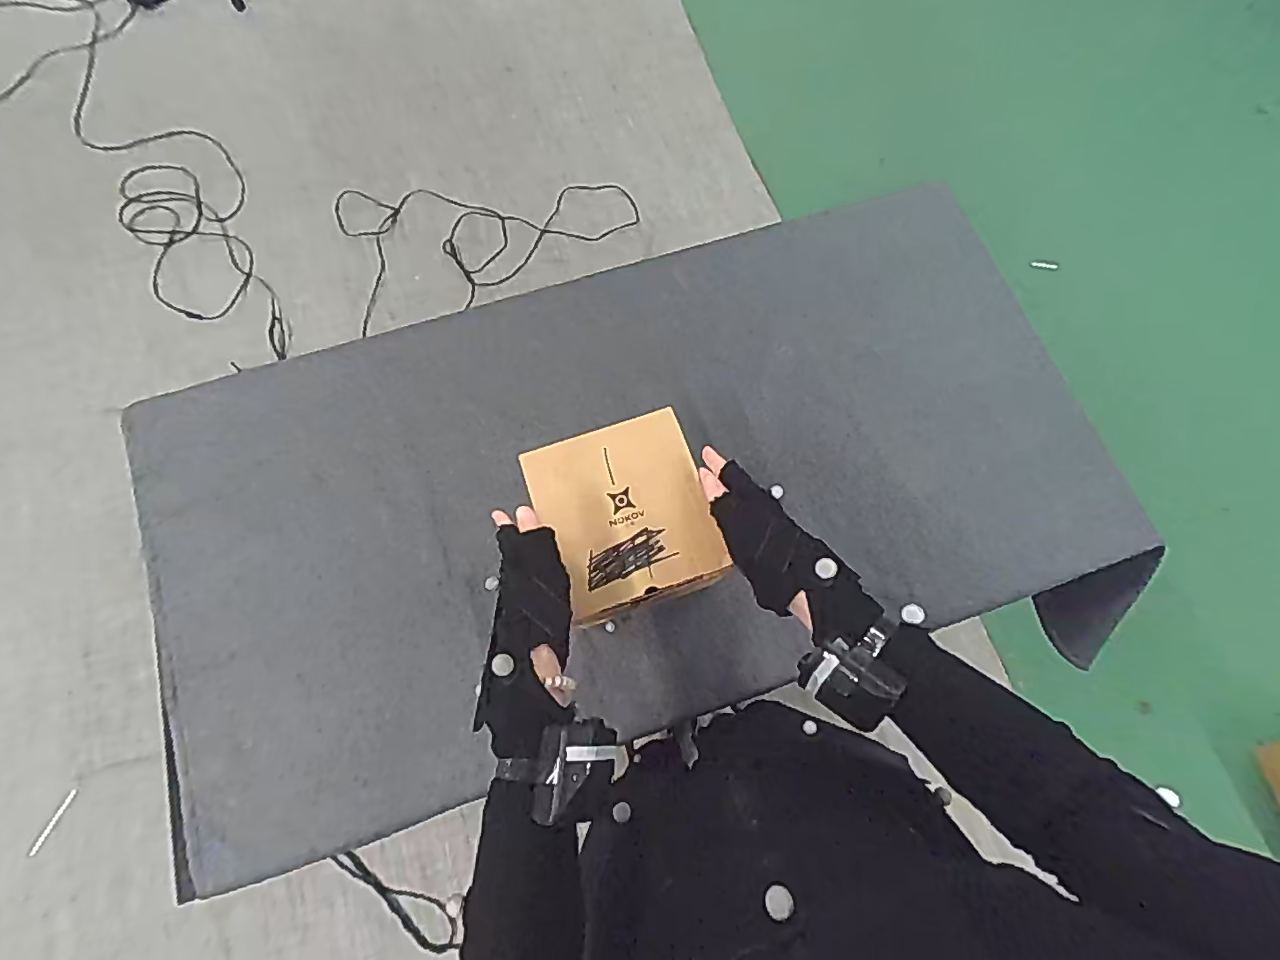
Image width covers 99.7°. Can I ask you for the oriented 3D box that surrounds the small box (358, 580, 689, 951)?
[{"bbox_3d":[-0.084,0.221,0.433,0.176,0.179,0.168,-32,117,12],"label":"small box"}]

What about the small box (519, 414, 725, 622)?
[{"bbox_3d":[-0.018,0.056,0.608,0.168,0.176,0.179,-18,73,-5],"label":"small box"}]
